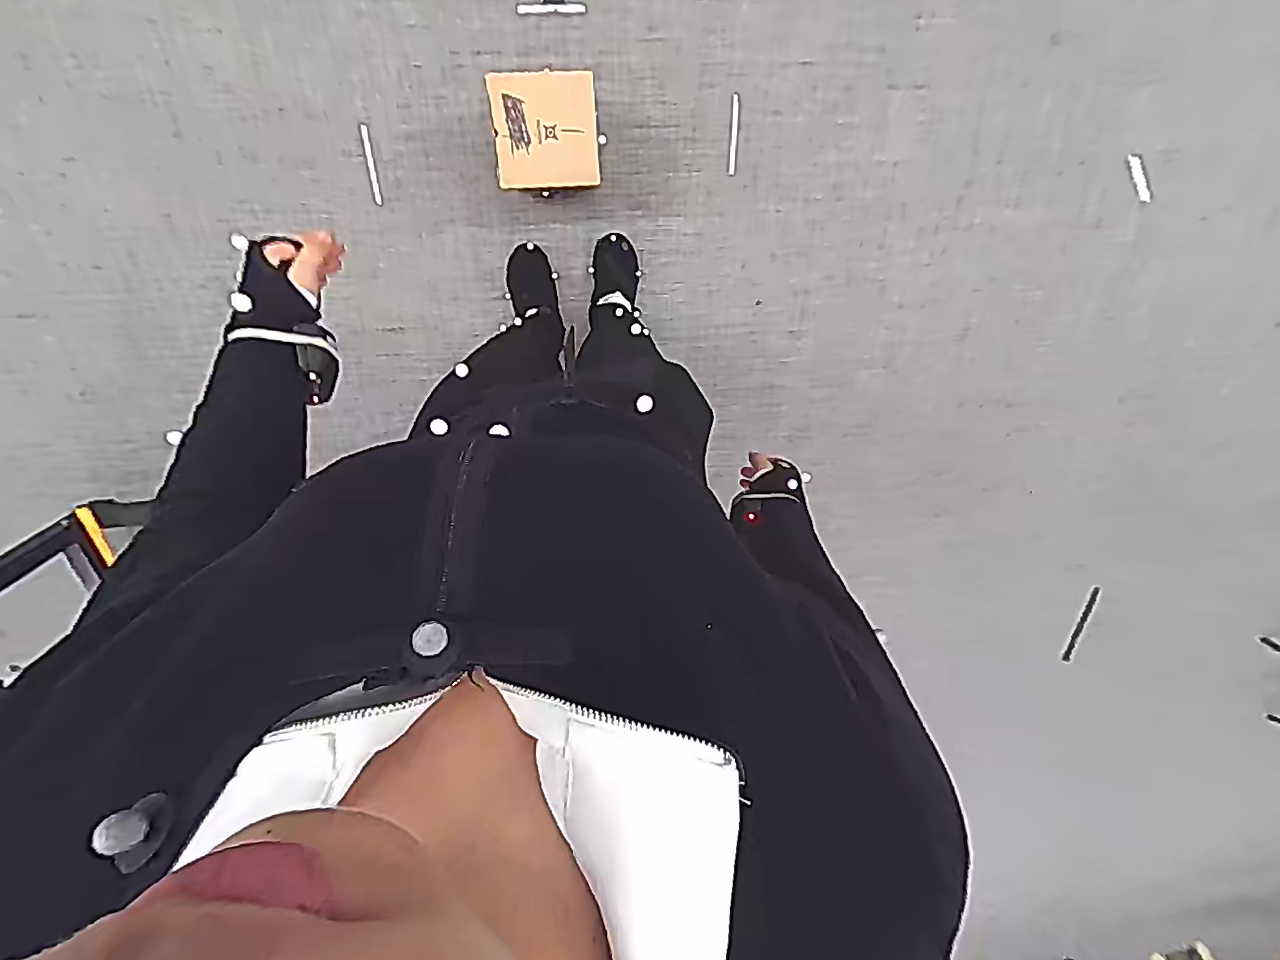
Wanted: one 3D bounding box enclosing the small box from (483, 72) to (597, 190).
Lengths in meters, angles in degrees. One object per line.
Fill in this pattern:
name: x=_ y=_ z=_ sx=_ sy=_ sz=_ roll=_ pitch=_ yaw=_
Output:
small box: x=-0.169 y=-0.616 z=0.970 sx=0.179 sy=0.176 sz=0.168 roll=-3 pitch=119 yaw=-3
